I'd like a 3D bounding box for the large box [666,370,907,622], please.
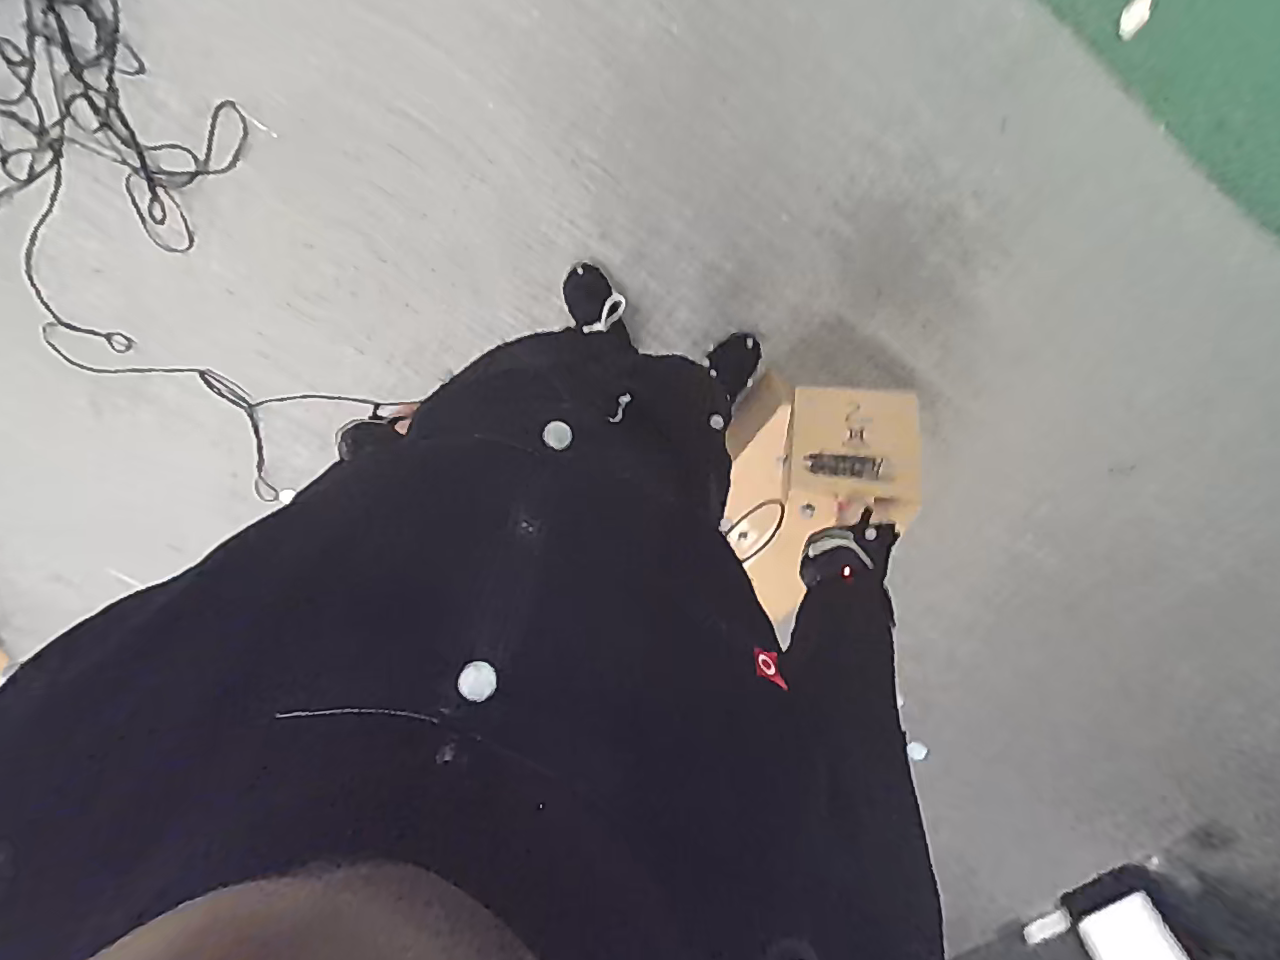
[{"bbox_3d":[0.302,0.026,1.224,0.320,0.320,0.408,34,115,-7],"label":"large box"}]
